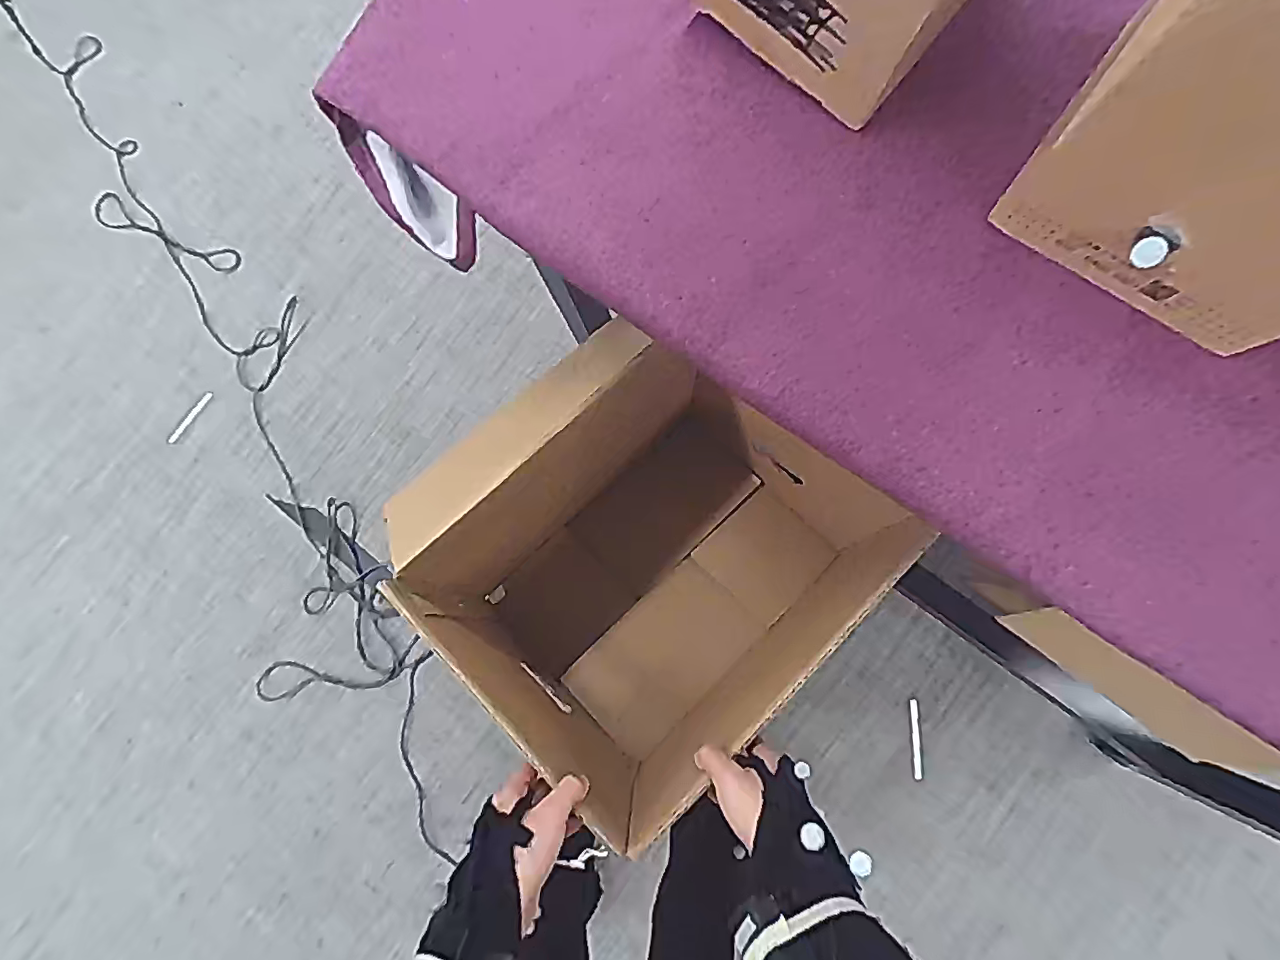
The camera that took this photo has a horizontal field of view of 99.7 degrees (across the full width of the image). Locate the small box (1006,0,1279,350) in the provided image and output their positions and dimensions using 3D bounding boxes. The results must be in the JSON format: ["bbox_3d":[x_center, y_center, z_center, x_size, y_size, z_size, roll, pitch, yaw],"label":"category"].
[{"bbox_3d":[0.339,-0.201,0.275,0.168,0.176,0.179,36,87,9],"label":"small box"}]
